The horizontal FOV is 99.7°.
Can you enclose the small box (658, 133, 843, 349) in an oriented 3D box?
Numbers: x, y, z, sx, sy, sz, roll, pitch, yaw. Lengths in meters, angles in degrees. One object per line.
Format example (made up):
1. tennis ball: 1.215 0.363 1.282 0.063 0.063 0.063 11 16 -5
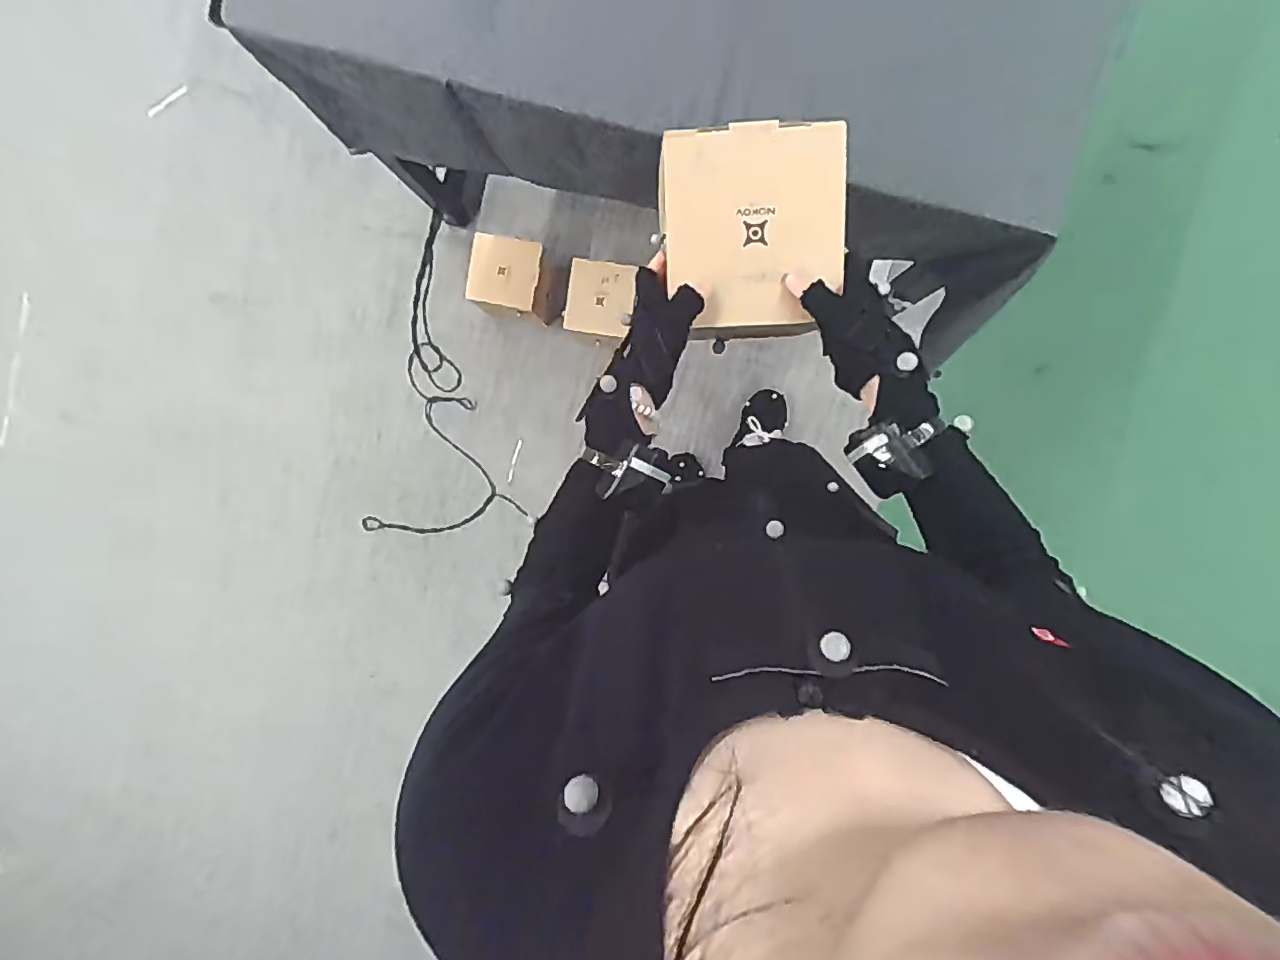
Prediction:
1. small box: 0.104 -0.237 0.577 0.168 0.176 0.179 -2 100 2
